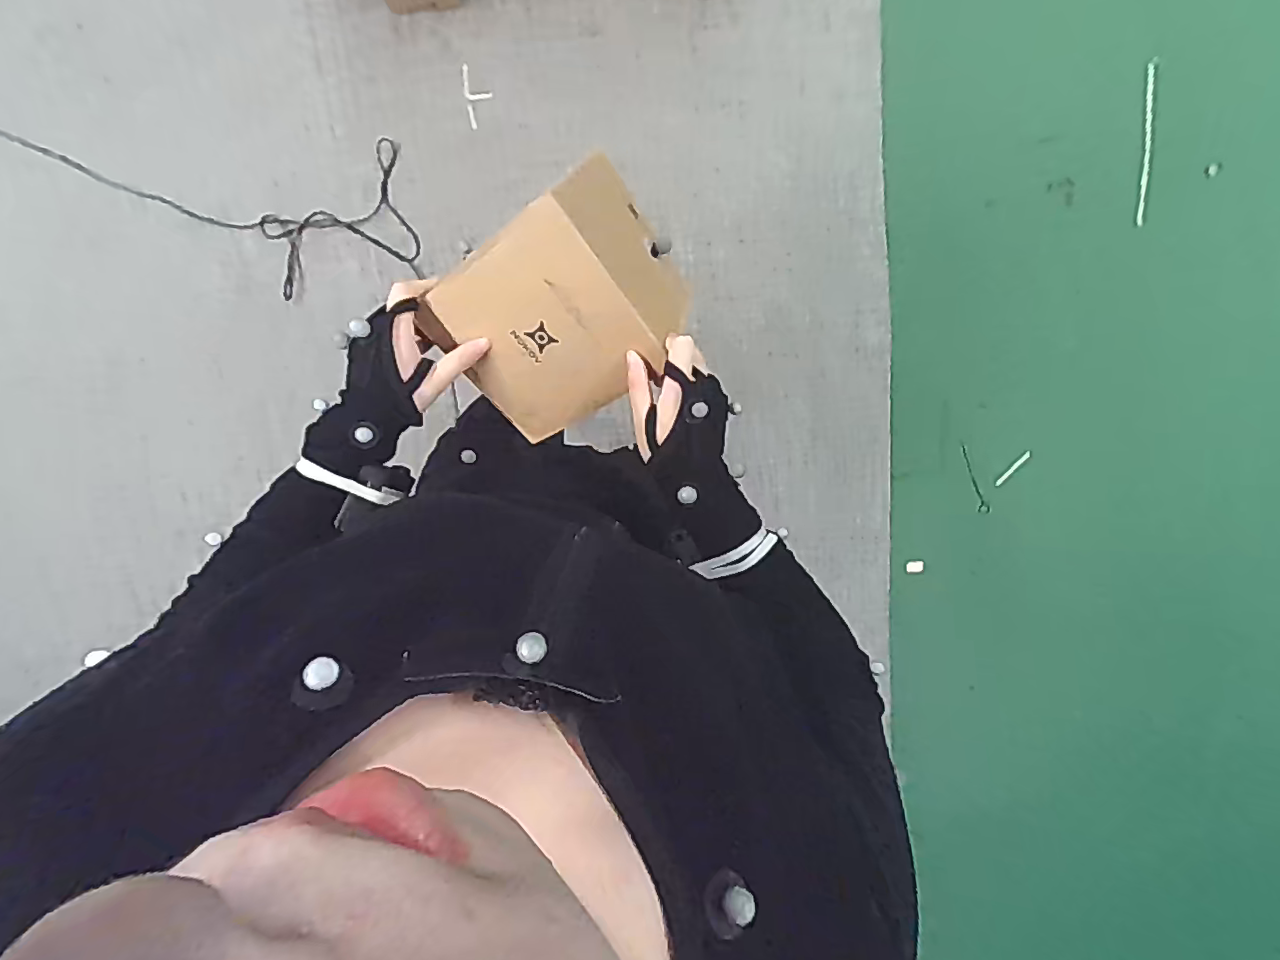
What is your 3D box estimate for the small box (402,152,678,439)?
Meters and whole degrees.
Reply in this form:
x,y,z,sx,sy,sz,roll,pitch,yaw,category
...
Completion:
x,y,z,sx,sy,sz,roll,pitch,yaw,category
-0.081,-0.176,0.524,0.179,0.176,0.168,-24,122,29,small box
